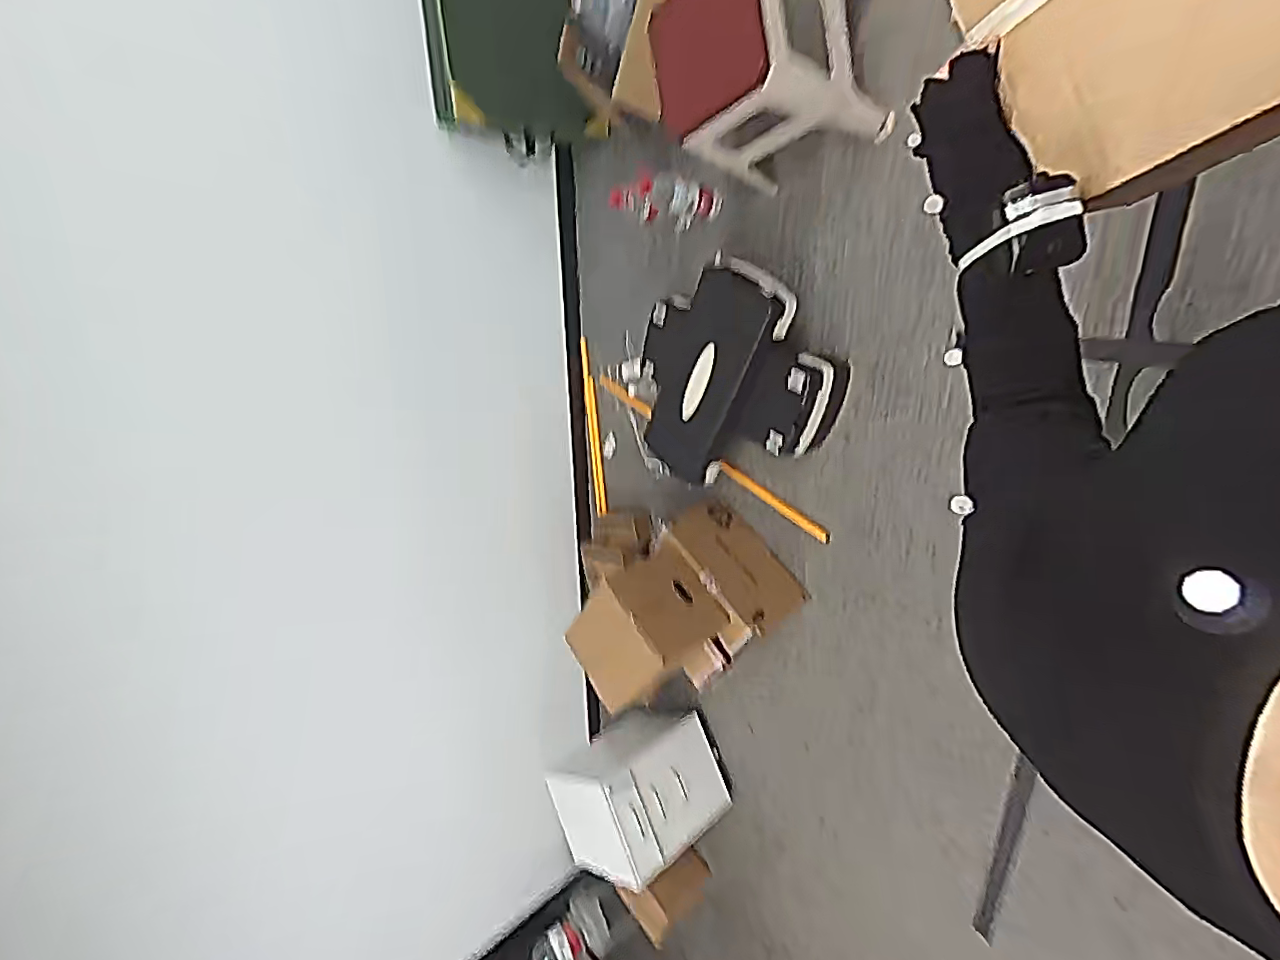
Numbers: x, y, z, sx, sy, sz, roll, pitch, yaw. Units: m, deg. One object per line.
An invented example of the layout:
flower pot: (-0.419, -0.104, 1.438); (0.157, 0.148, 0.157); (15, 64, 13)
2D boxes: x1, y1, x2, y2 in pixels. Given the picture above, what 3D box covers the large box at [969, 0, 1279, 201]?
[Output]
large box: (0.496, -0.450, 0.366); (0.408, 0.320, 0.320); (-18, 95, 54)
